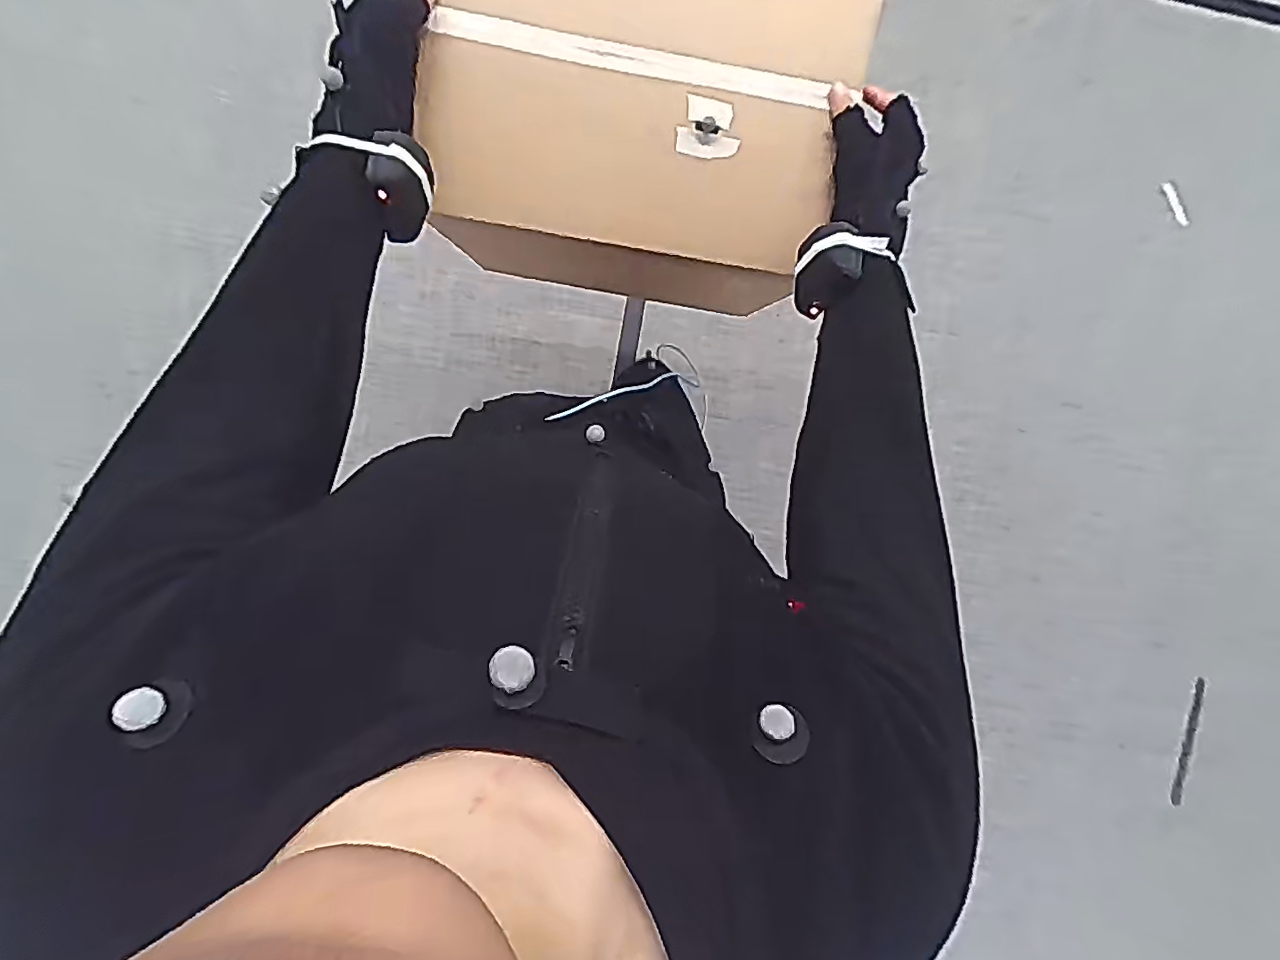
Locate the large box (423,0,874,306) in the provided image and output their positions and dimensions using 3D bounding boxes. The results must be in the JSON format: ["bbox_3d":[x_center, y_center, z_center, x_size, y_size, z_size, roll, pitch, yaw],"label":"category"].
[{"bbox_3d":[-0.001,-0.413,0.647,0.408,0.320,0.320,8,101,-5],"label":"large box"}]
